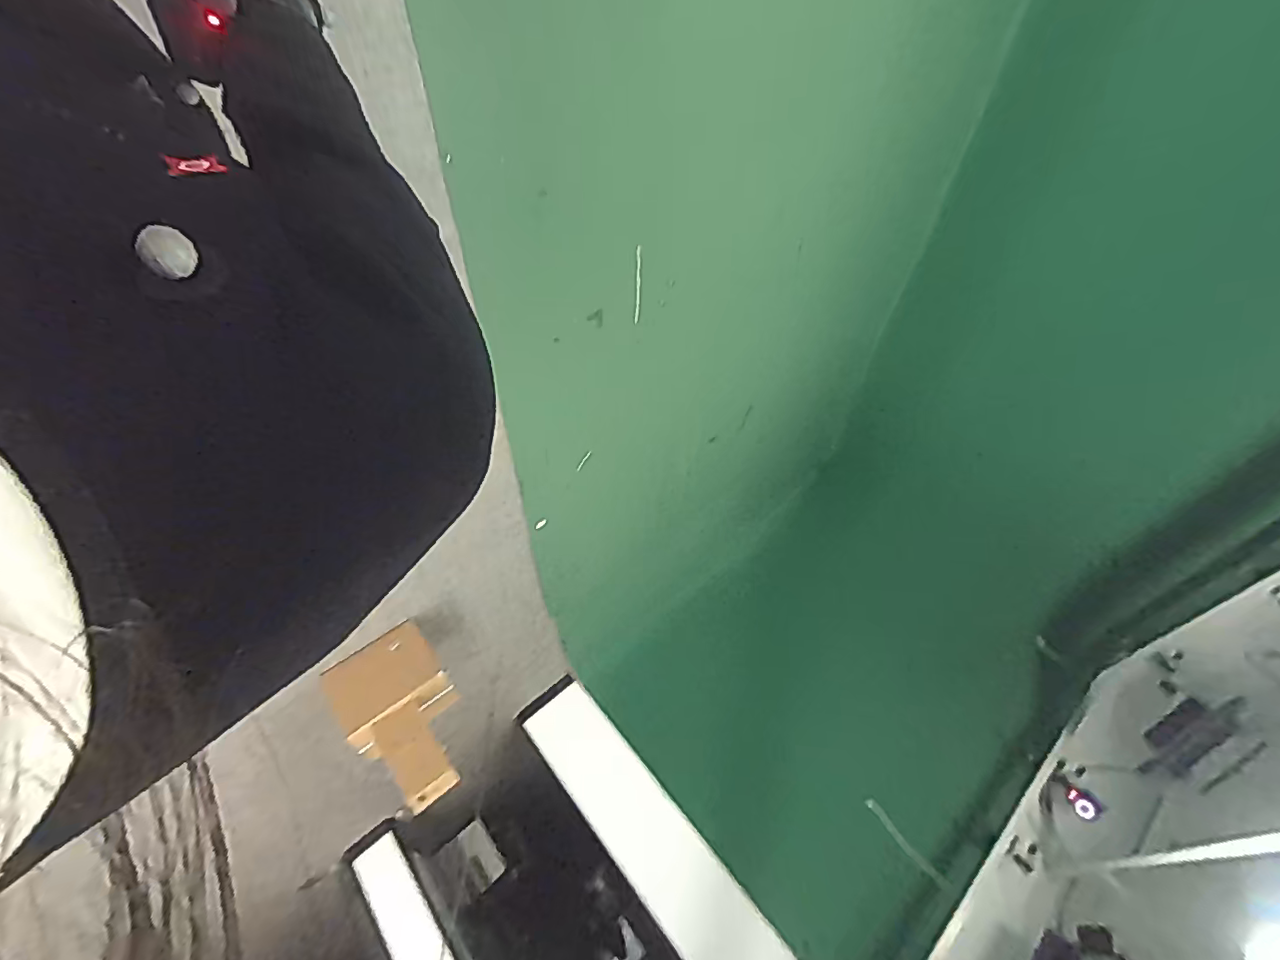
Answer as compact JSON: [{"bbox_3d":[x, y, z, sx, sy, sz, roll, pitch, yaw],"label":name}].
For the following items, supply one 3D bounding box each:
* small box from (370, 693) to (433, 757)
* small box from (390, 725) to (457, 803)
[{"bbox_3d":[-0.937,0.982,2.140,0.179,0.176,0.168,-28,144,-31],"label":"small box"},{"bbox_3d":[-0.829,1.079,2.063,0.179,0.176,0.168,-31,146,-31],"label":"small box"}]
